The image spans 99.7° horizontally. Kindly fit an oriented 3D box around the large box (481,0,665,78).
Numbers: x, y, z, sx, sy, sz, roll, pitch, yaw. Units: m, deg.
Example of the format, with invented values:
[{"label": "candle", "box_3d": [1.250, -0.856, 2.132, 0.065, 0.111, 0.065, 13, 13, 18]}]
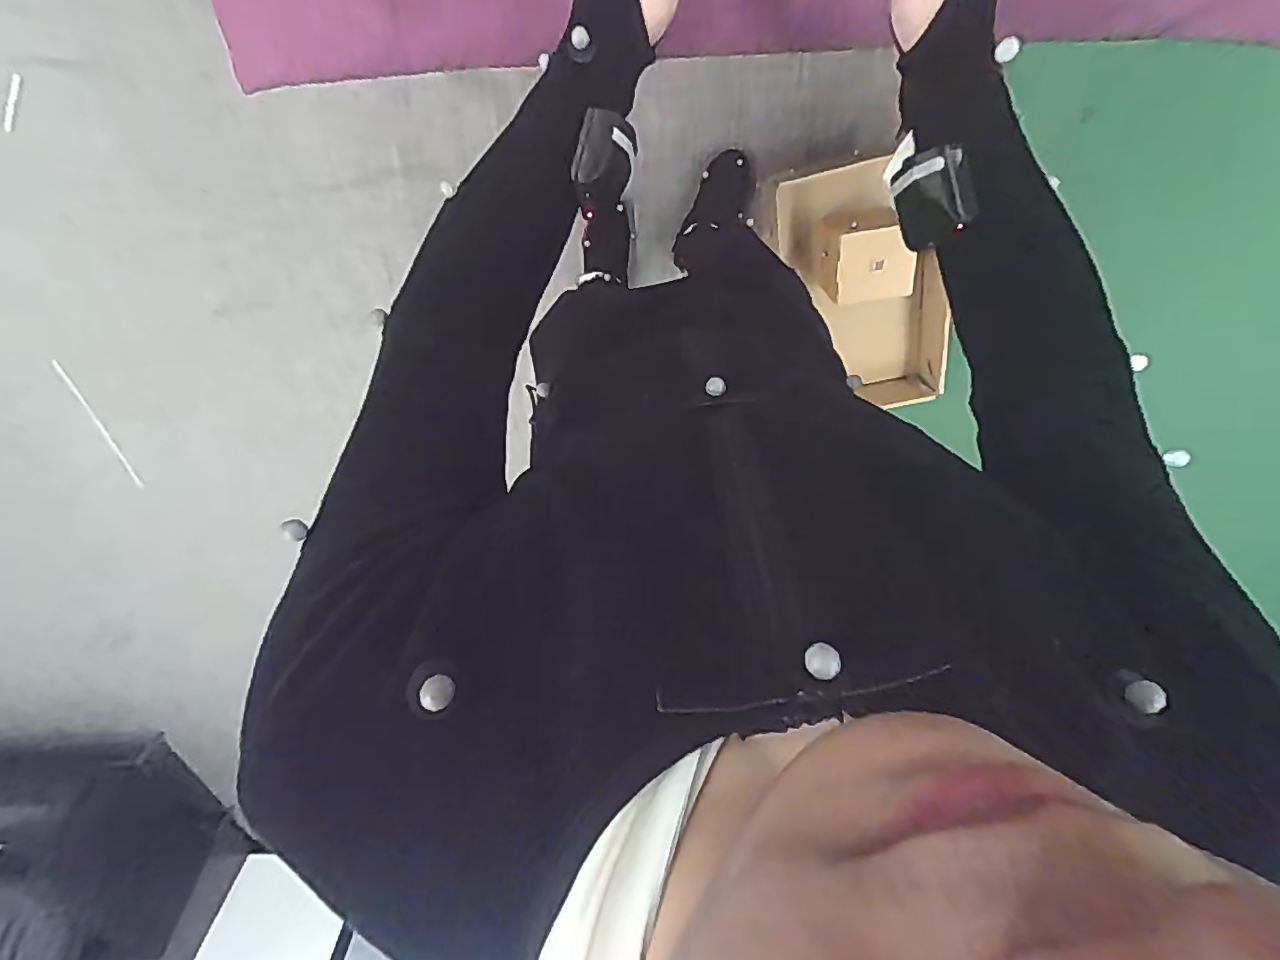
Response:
[{"label": "large box", "box_3d": [-0.124, -0.999, 0.975, 0.320, 0.320, 0.408, -4, 123, 3]}]
